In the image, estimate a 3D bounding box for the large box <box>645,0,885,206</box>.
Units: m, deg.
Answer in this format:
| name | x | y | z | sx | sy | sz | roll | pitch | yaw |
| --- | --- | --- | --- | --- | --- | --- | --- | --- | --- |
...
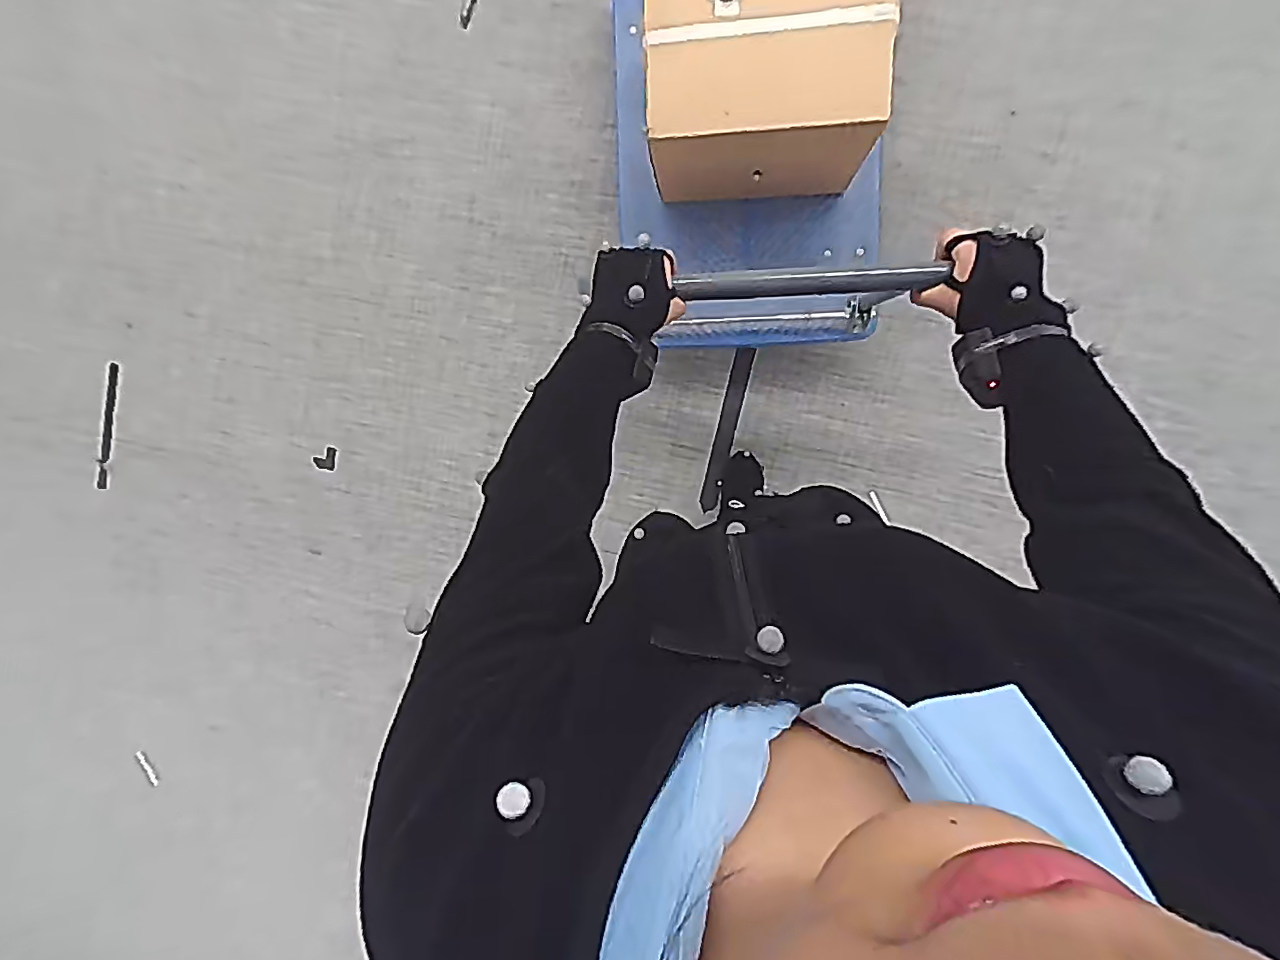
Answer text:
| name | x | y | z | sx | sy | sz | roll | pitch | yaw |
| --- | --- | --- | --- | --- | --- | --- | --- | --- | --- |
| large box | 0.230 | -0.765 | 1.063 | 0.408 | 0.320 | 0.320 | 0 | 96 | 8 |
